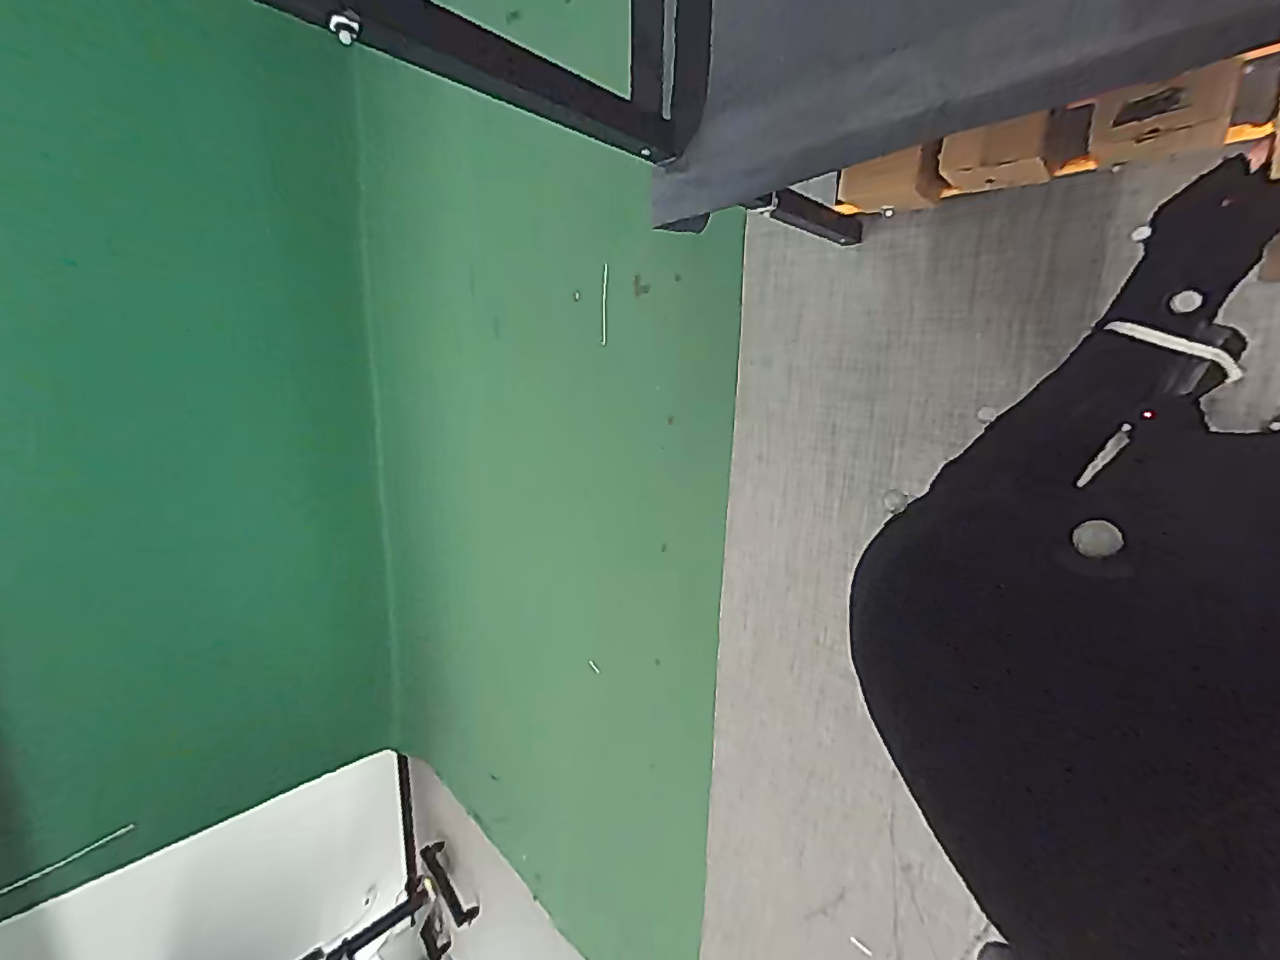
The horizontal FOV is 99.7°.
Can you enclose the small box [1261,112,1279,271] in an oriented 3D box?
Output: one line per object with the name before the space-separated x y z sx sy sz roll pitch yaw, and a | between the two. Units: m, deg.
small box | 0.579 -0.268 0.385 0.168 0.176 0.179 8 94 48
